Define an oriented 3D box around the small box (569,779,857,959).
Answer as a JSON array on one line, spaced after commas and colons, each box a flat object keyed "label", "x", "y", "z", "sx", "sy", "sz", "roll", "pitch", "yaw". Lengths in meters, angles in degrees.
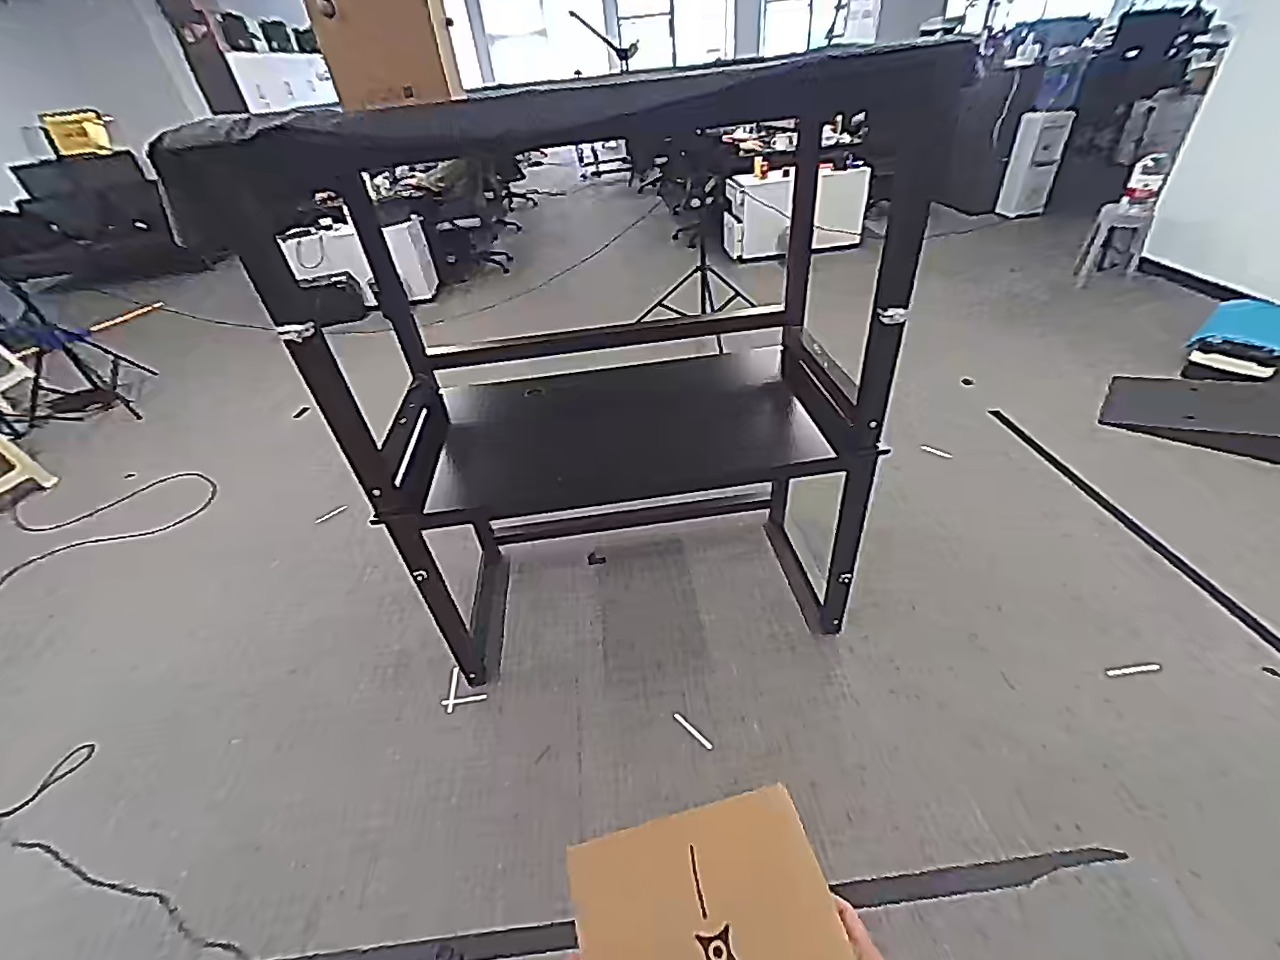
[{"label": "small box", "x": 0.052, "y": 0.351, "z": 0.384, "sx": 0.168, "sy": 0.176, "sz": 0.179, "roll": -12, "pitch": 44, "yaw": -9}]
